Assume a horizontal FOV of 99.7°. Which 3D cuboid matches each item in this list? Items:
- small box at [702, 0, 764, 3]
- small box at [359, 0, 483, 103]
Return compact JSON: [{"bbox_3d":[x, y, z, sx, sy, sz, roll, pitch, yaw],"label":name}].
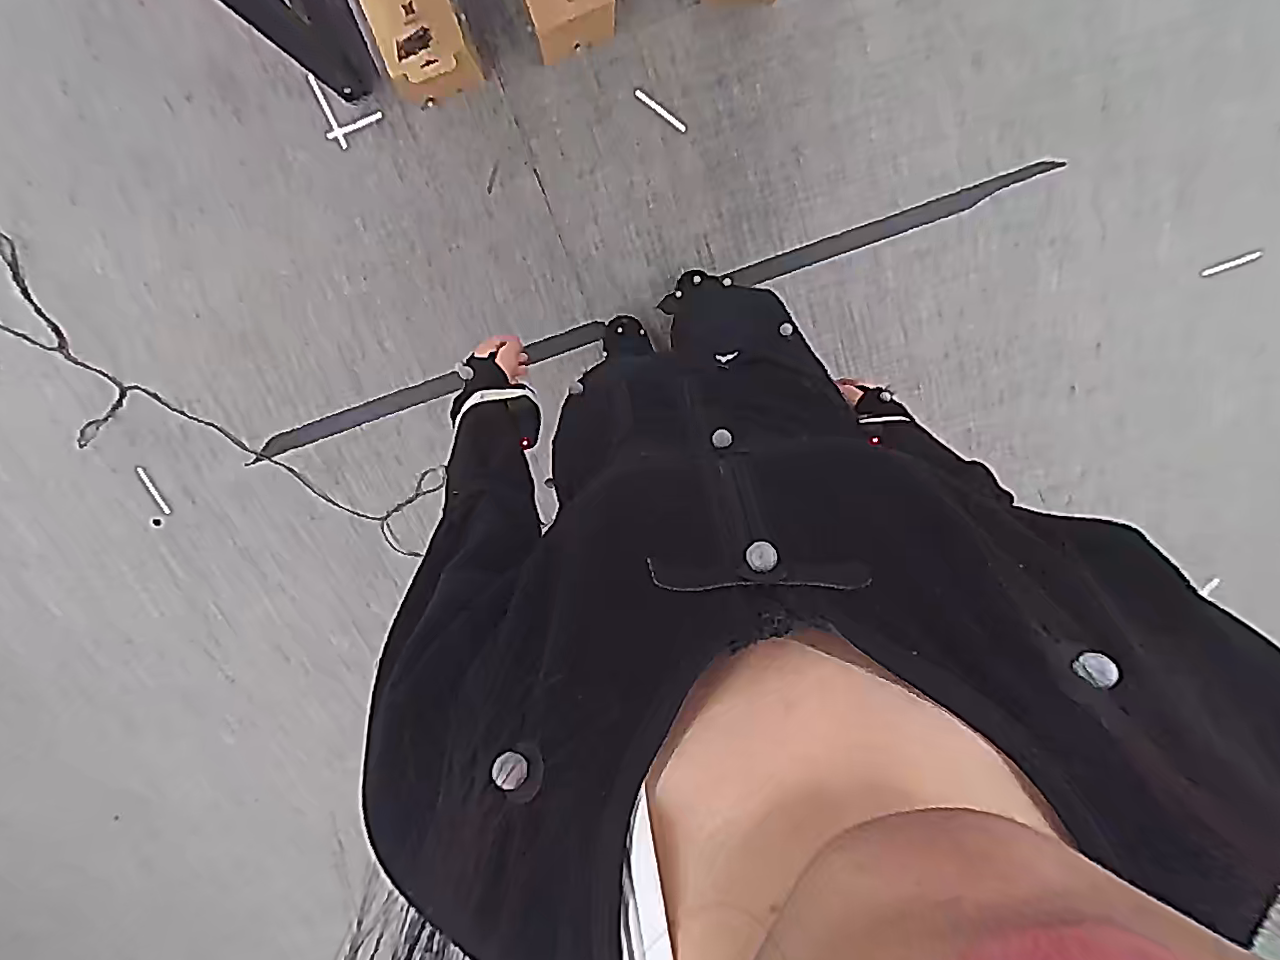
[{"bbox_3d":[0.218,-1.112,1.098,0.179,0.176,0.168,-3,108,-1],"label":"small box"},{"bbox_3d":[-0.446,-0.917,1.118,0.168,0.176,0.179,-19,106,3],"label":"small box"}]
